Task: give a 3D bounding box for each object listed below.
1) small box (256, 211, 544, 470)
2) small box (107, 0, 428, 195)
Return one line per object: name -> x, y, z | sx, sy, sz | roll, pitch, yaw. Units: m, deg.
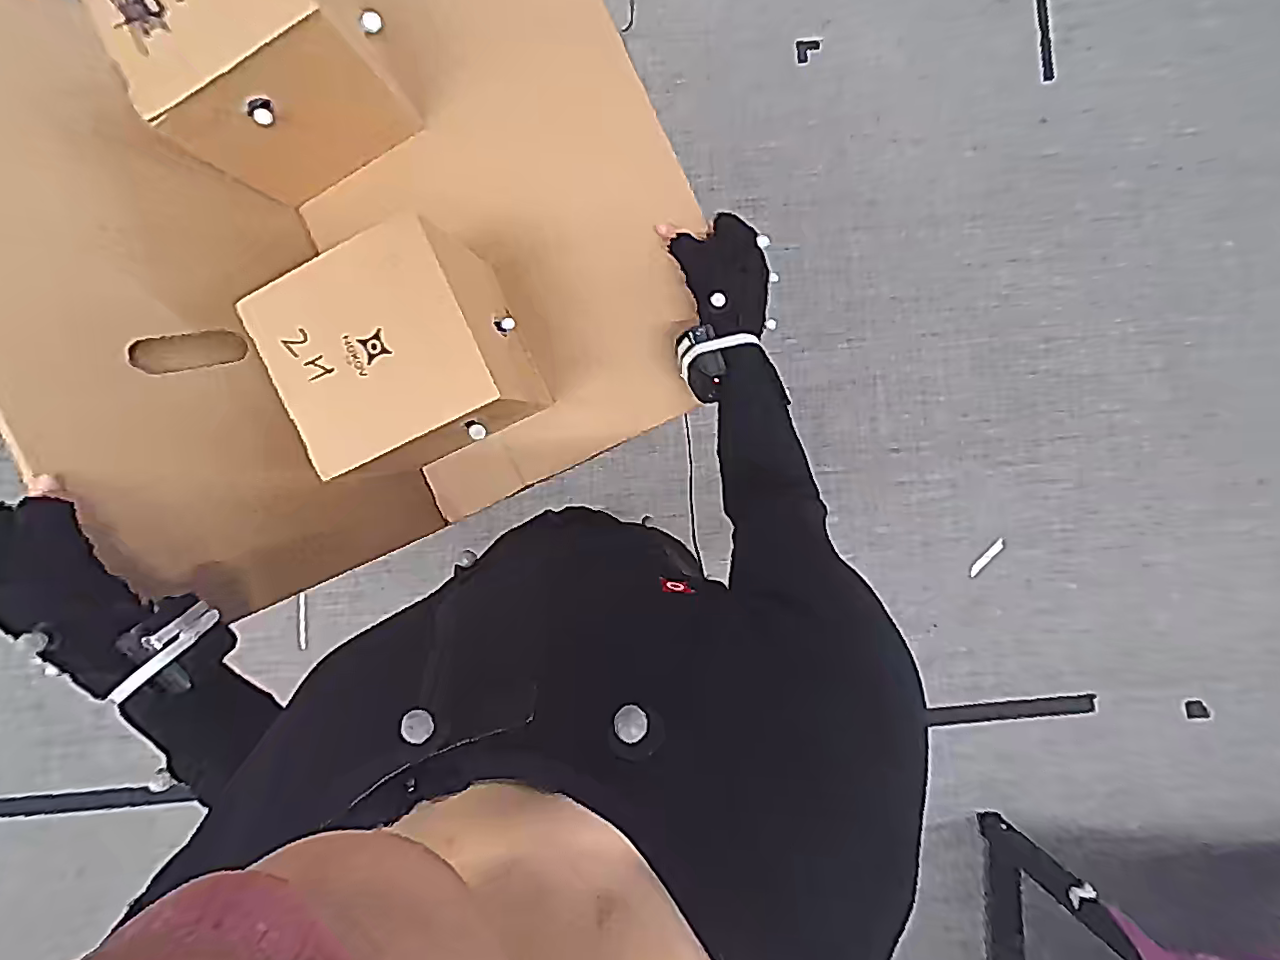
small box -> -0.210, -0.122, 0.531 | 0.179, 0.176, 0.168 | -23, 93, 8
small box -> -0.343, -0.414, 0.518 | 0.179, 0.176, 0.168 | -25, 92, 7
